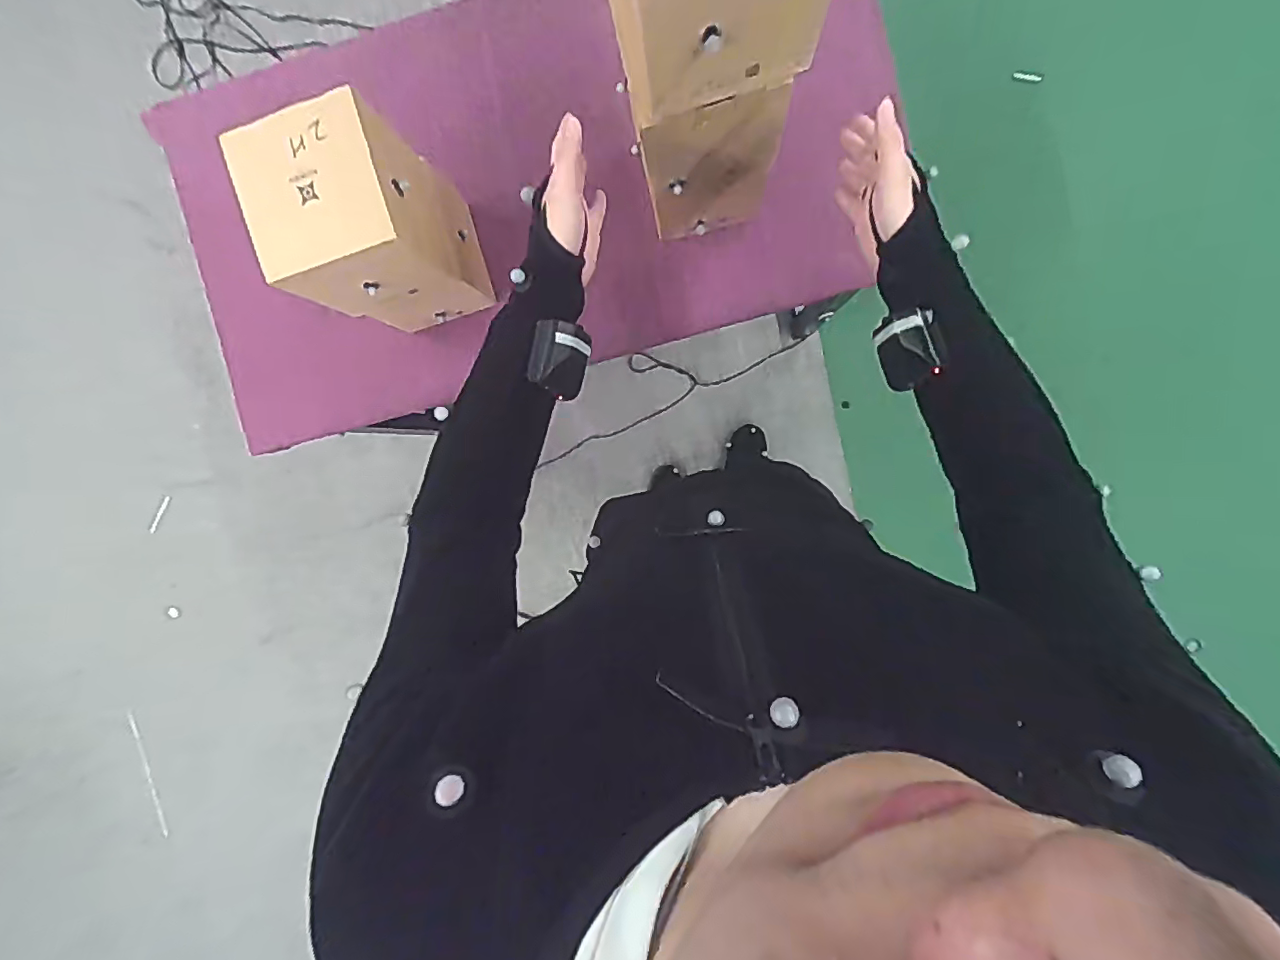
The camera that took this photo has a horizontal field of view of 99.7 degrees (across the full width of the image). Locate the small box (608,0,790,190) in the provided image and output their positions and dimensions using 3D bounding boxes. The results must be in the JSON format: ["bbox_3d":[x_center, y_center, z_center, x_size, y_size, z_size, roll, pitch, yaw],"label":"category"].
[{"bbox_3d":[0.069,-0.470,0.633,0.168,0.176,0.179,-13,90,8],"label":"small box"}]

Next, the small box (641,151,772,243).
[{"bbox_3d":[0.087,-0.482,0.795,0.168,0.176,0.179,-12,92,8],"label":"small box"}]

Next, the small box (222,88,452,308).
[{"bbox_3d":[-0.363,-0.331,0.681,0.168,0.176,0.179,-16,92,5],"label":"small box"}]

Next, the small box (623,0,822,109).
[{"bbox_3d":[0.062,-0.466,0.470,0.168,0.176,0.179,-14,90,8],"label":"small box"}]
